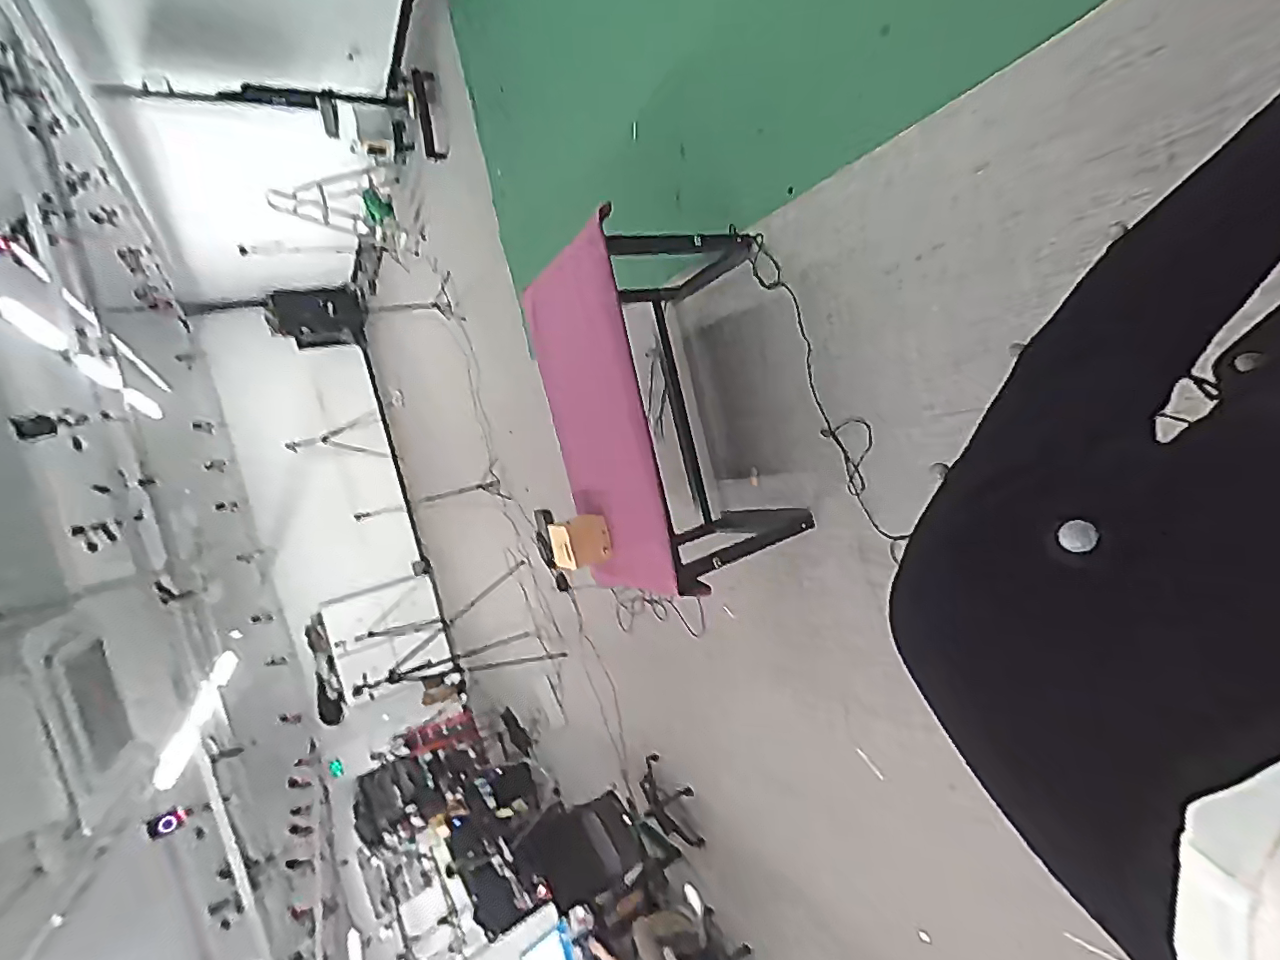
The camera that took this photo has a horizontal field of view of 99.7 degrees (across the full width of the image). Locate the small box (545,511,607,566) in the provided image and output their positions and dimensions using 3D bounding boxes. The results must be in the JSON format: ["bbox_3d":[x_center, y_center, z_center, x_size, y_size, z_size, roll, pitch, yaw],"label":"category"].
[{"bbox_3d":[-0.241,0.221,2.091,0.179,0.176,0.168,-3,102,56],"label":"small box"}]
